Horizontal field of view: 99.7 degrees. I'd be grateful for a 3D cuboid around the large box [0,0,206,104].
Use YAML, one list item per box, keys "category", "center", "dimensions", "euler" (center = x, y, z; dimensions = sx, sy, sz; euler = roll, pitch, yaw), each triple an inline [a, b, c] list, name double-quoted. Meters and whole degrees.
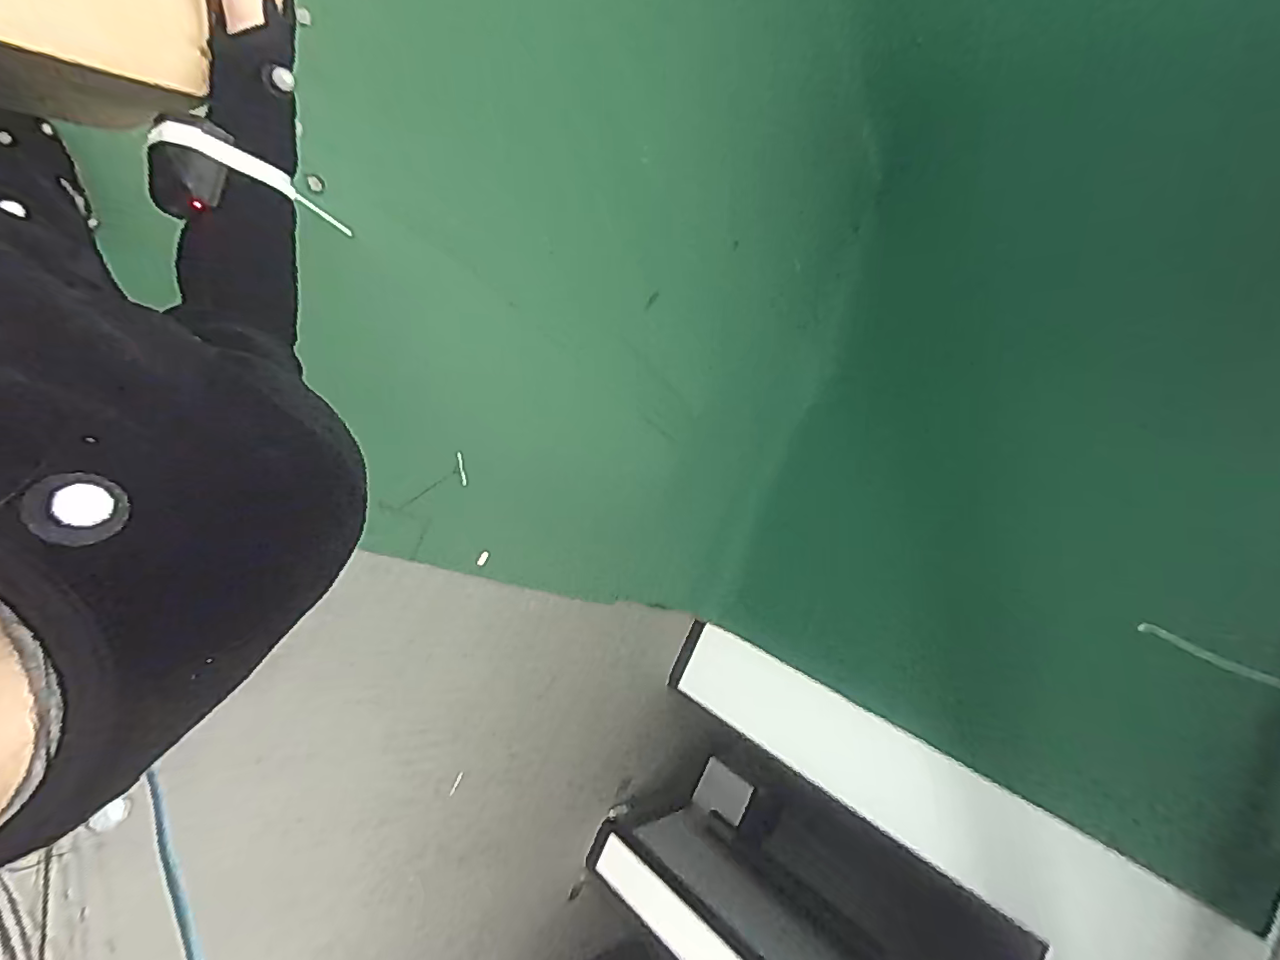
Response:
- category: "large box"
  center: [-0.559, -0.453, 0.304]
  dimensions: [0.408, 0.320, 0.320]
  euler: [-18, 121, -48]
